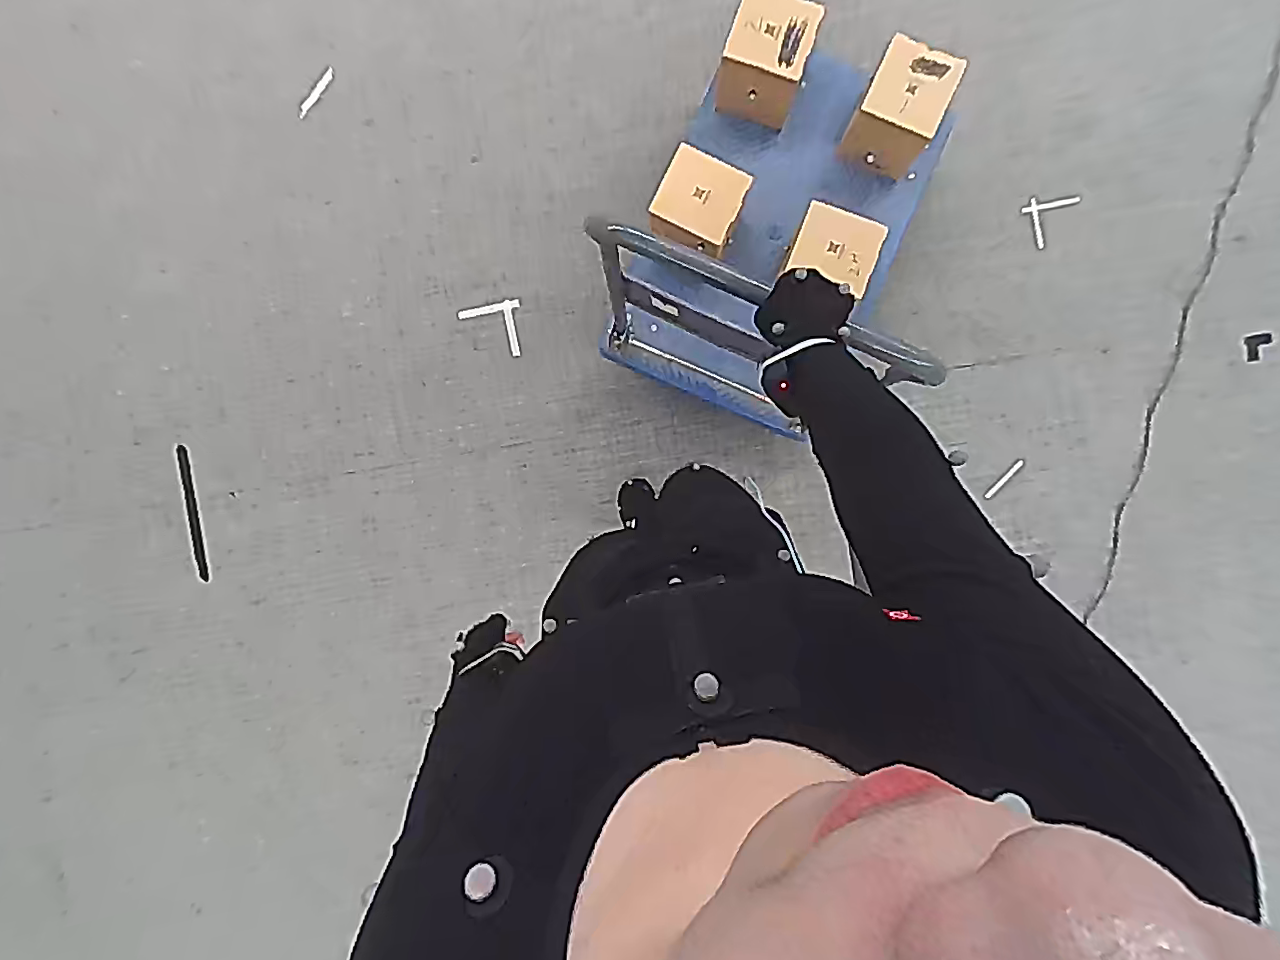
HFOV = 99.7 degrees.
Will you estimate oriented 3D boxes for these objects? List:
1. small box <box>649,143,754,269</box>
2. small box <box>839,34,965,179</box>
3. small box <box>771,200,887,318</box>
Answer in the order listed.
[{"bbox_3d":[0.130,-0.609,1.228,0.179,0.176,0.168,26,91,0],"label":"small box"},{"bbox_3d":[0.574,-0.827,1.213,0.168,0.176,0.179,25,92,2],"label":"small box"},{"bbox_3d":[0.414,-0.487,1.220,0.179,0.176,0.168,22,91,1],"label":"small box"}]
